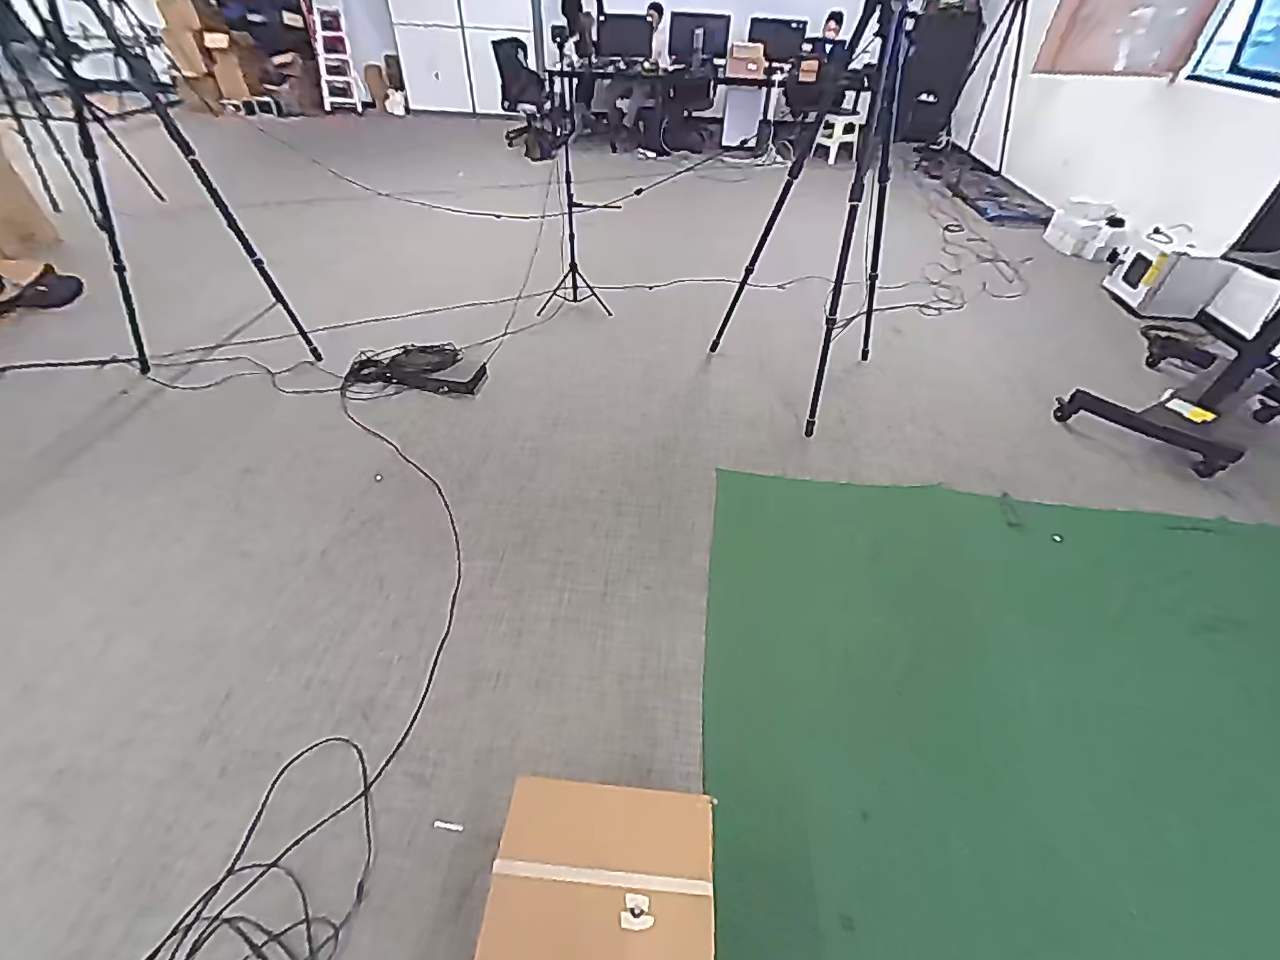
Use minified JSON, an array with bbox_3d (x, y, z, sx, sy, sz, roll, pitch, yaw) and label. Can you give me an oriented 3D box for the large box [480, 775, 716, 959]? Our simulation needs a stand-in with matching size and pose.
[{"bbox_3d":[-0.069,0.835,1.095,0.408,0.320,0.320,5,43,2],"label":"large box"}]
